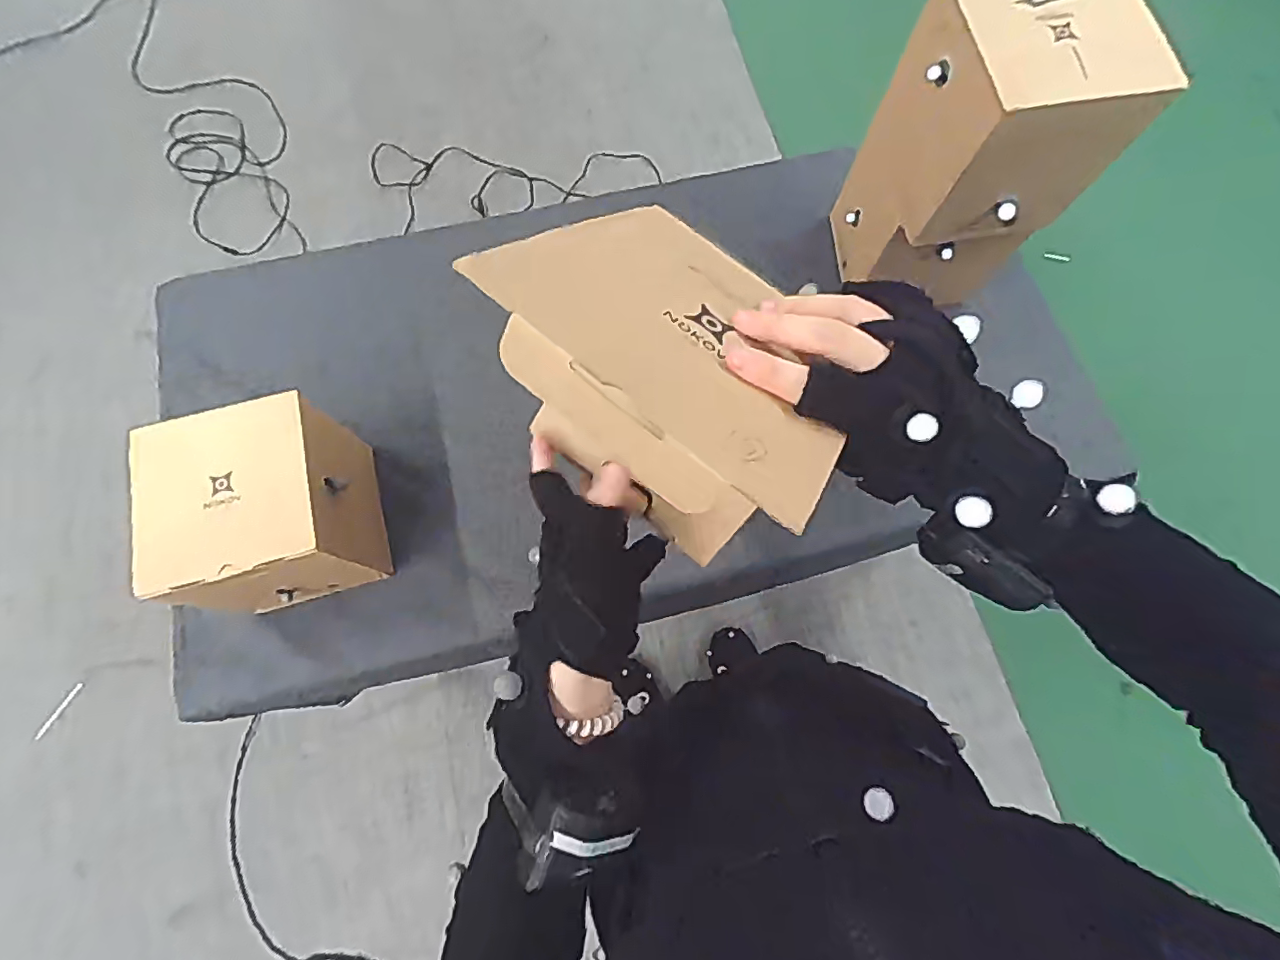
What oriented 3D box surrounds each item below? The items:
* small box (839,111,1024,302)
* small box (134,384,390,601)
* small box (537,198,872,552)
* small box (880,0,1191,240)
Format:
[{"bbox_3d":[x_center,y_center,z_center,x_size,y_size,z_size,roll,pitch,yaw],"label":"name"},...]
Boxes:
[{"bbox_3d":[0.377,-0.352,0.714,0.179,0.176,0.168,-2,74,-1],"label":"small box"},{"bbox_3d":[-0.401,0.024,0.597,0.168,0.176,0.179,-15,74,-5],"label":"small box"},{"bbox_3d":[0.057,-0.082,0.425,0.168,0.176,0.179,39,117,4],"label":"small box"},{"bbox_3d":[0.372,-0.380,0.551,0.168,0.176,0.179,-8,75,-2],"label":"small box"}]
